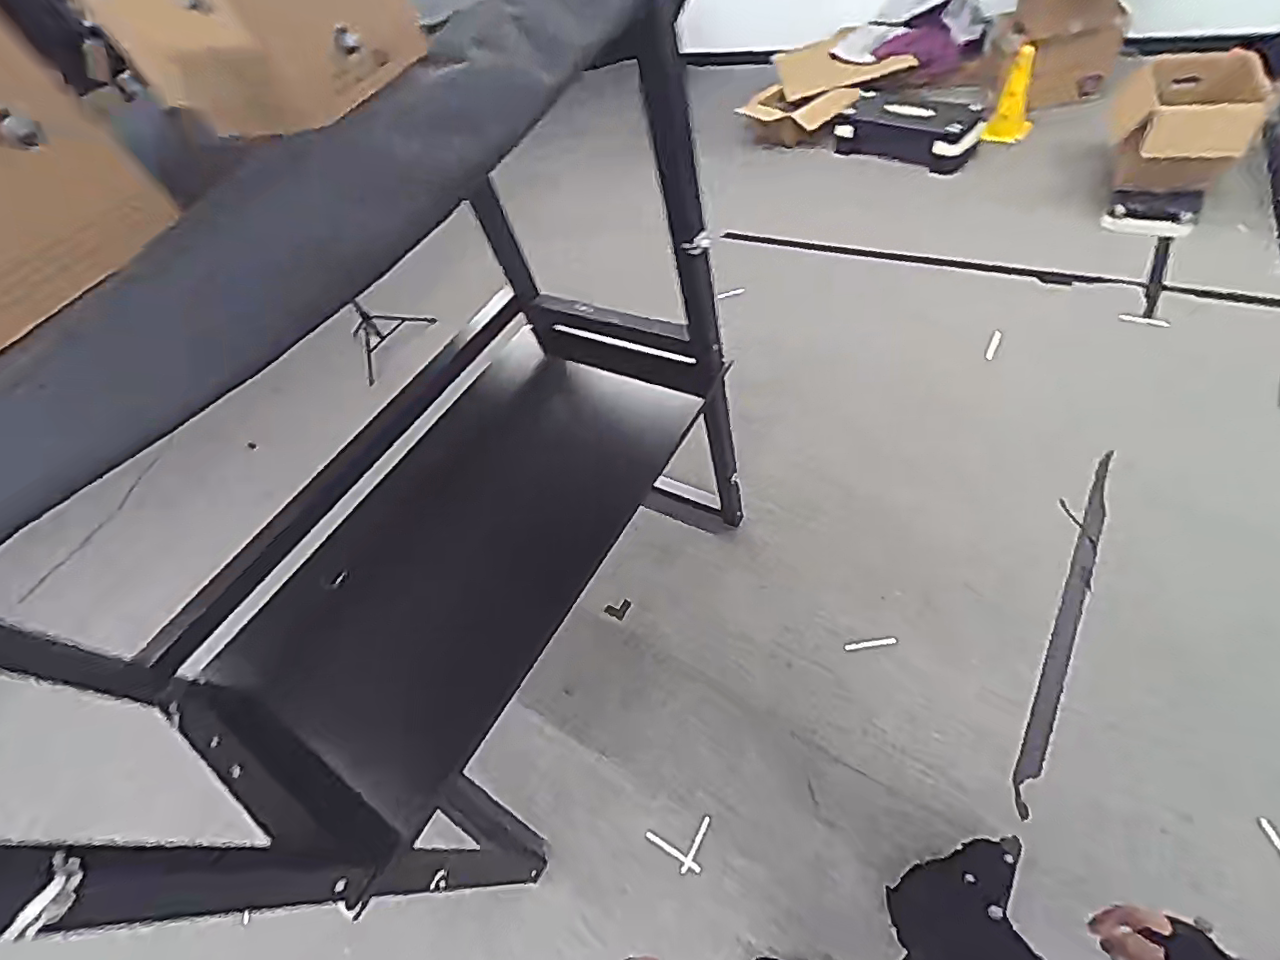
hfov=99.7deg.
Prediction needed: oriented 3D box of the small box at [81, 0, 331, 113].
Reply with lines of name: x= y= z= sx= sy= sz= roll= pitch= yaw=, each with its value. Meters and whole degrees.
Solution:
small box: x=-0.505 y=-0.545 z=0.612 sx=0.179 sy=0.176 sz=0.168 roll=22 pitch=65 yaw=27

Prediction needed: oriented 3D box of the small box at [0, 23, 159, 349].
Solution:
small box: x=-0.492 y=-0.208 z=0.371 sx=0.168 sy=0.176 sz=0.179 roll=17 pitch=60 yaw=28
